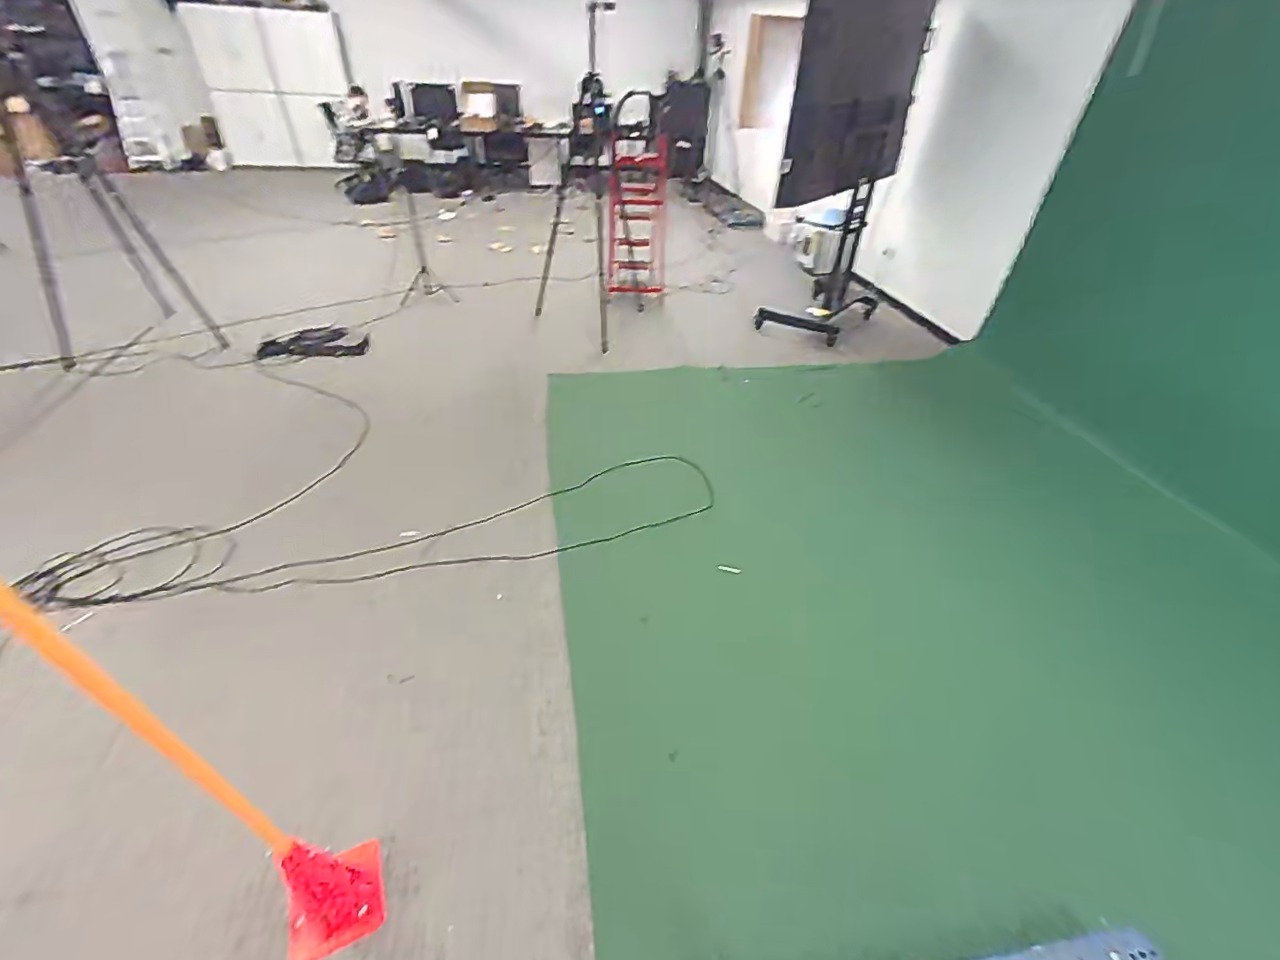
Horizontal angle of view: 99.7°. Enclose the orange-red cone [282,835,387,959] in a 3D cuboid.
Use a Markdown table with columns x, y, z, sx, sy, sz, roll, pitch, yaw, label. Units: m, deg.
| x | y | z | sx | sy | sz | roll | pitch | yaw | label |
| --- | --- | --- | --- | --- | --- | --- | --- | --- | --- |
| -0.715 | 0.879 | 1.204 | 0.198 | 0.360 | 0.199 | -14 | 40 | -21 | orange-red cone |
